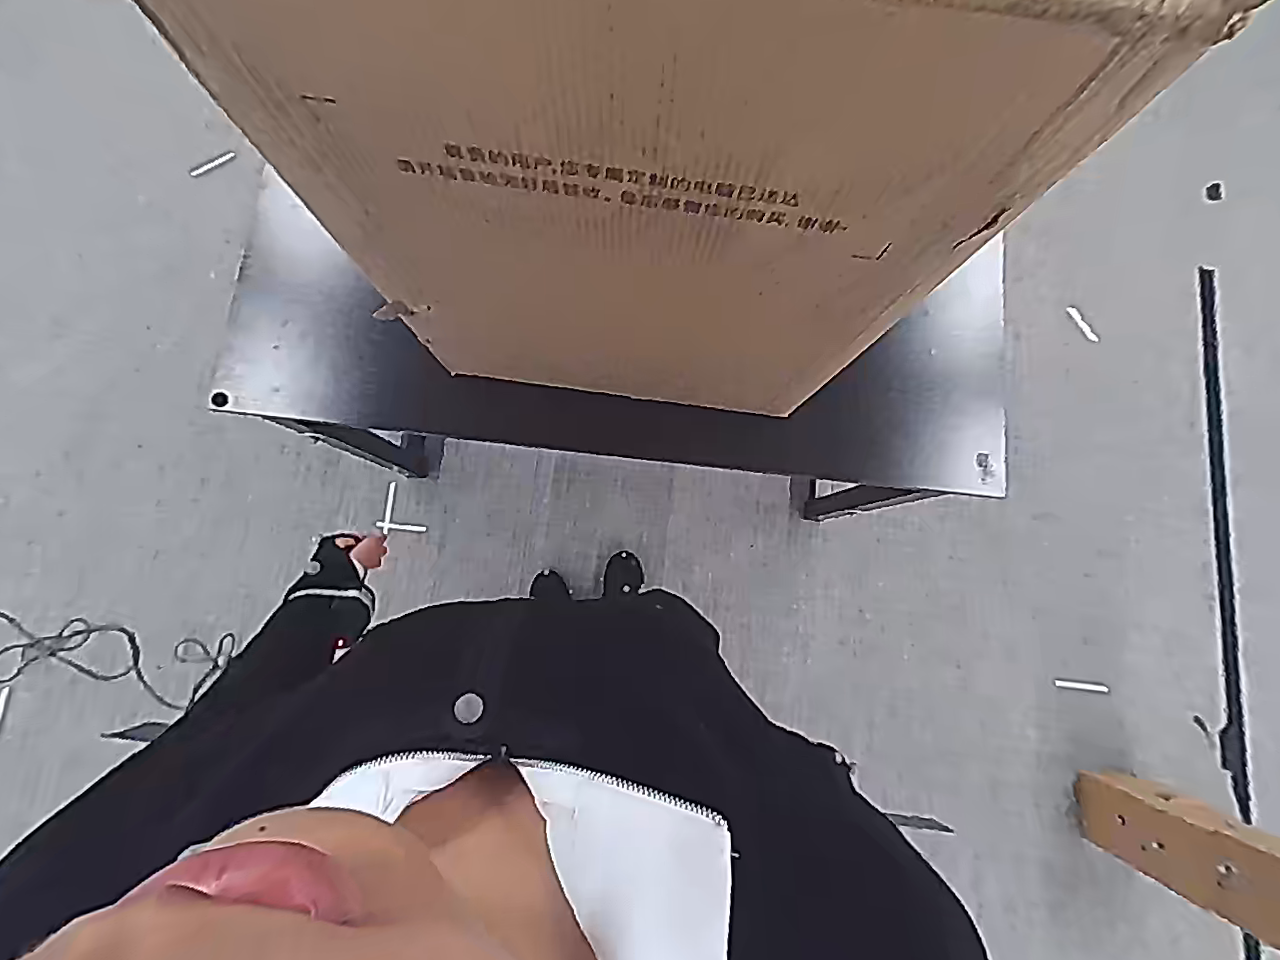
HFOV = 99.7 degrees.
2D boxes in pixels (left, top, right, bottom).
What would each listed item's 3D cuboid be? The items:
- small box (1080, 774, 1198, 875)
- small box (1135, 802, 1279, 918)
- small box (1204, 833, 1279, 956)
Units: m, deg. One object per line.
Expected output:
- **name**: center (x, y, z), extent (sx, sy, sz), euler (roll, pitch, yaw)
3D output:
- **small box**: center (1.276, 0.877, 1.387), extent (0.168, 0.176, 0.179), euler (3, 82, -2)
- **small box**: center (1.284, 0.857, 1.224), extent (0.179, 0.176, 0.168), euler (7, 81, -1)
- **small box**: center (1.285, 0.831, 1.063), extent (0.179, 0.176, 0.168), euler (12, 80, 0)
